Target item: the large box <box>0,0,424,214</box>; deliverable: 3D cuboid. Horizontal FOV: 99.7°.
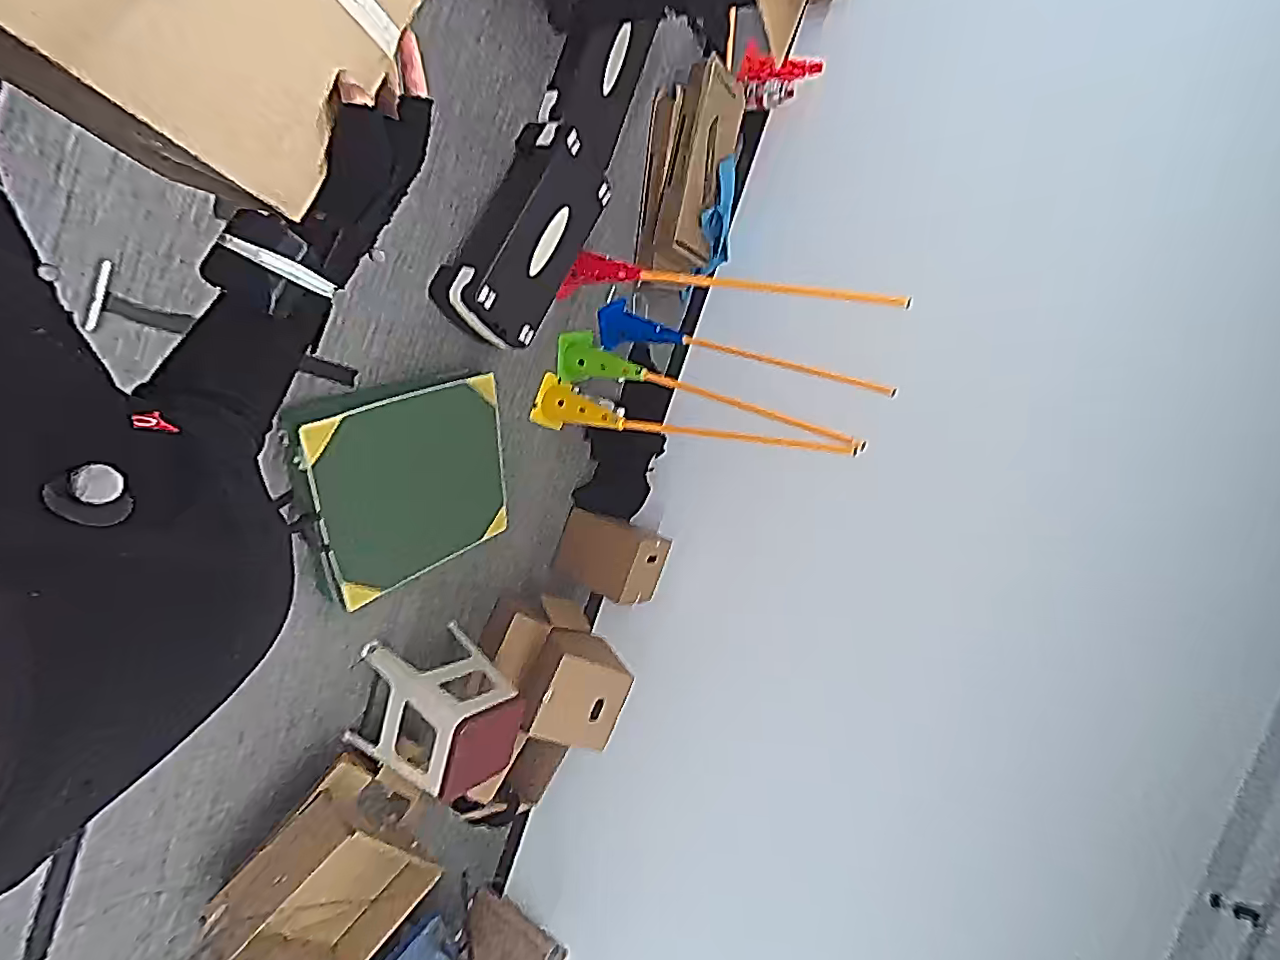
[{"bbox_3d":[-0.403,-0.449,0.340,0.320,0.320,0.408,-62,149,-1],"label":"large box"}]
